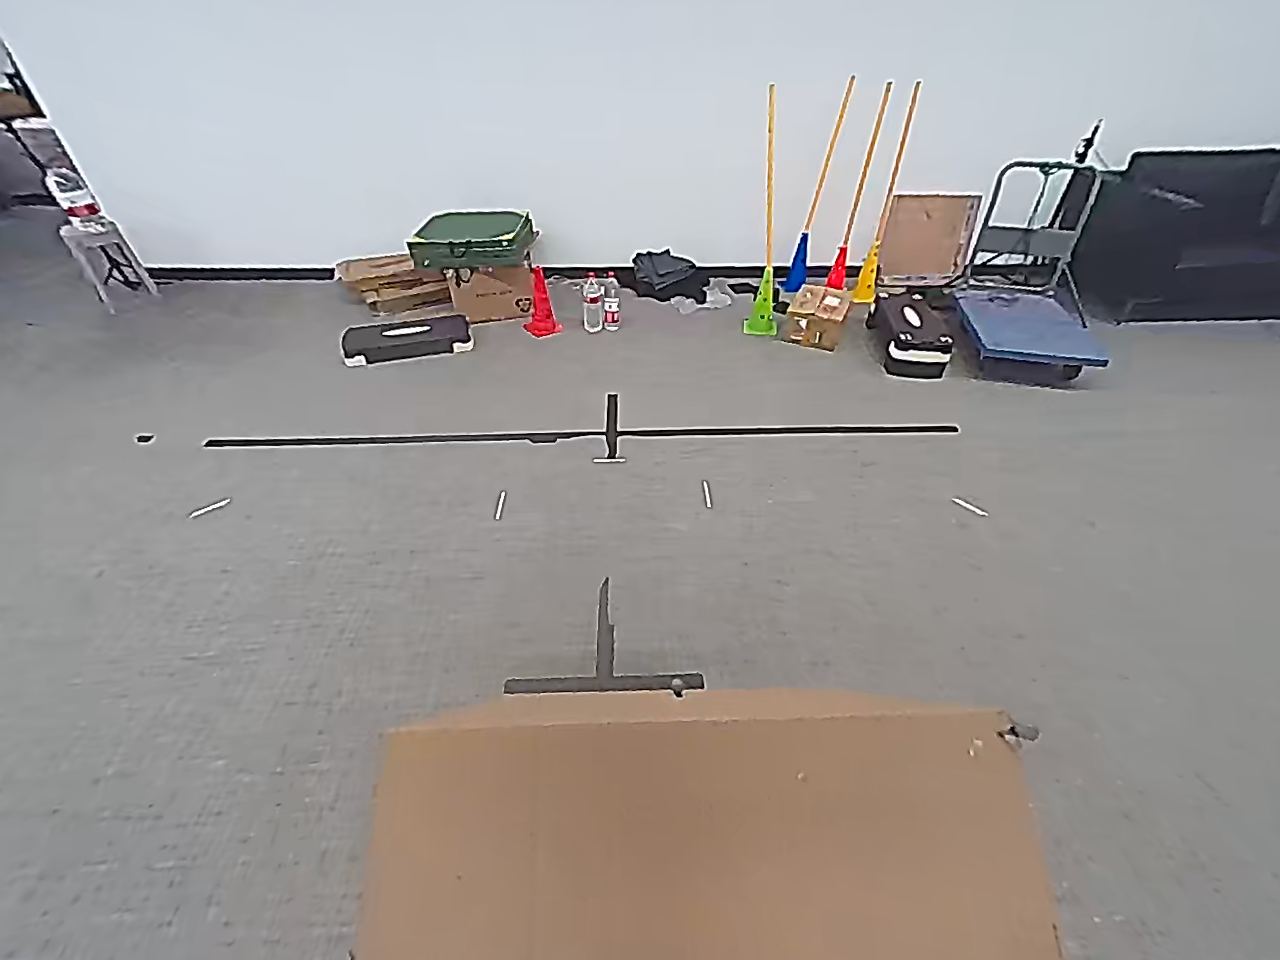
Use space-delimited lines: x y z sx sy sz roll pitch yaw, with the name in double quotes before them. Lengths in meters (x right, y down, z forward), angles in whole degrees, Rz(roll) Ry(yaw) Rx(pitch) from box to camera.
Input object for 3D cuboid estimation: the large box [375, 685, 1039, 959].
"large box" 0.038 0.353 0.457 0.408 0.320 0.320 -2 73 -2
